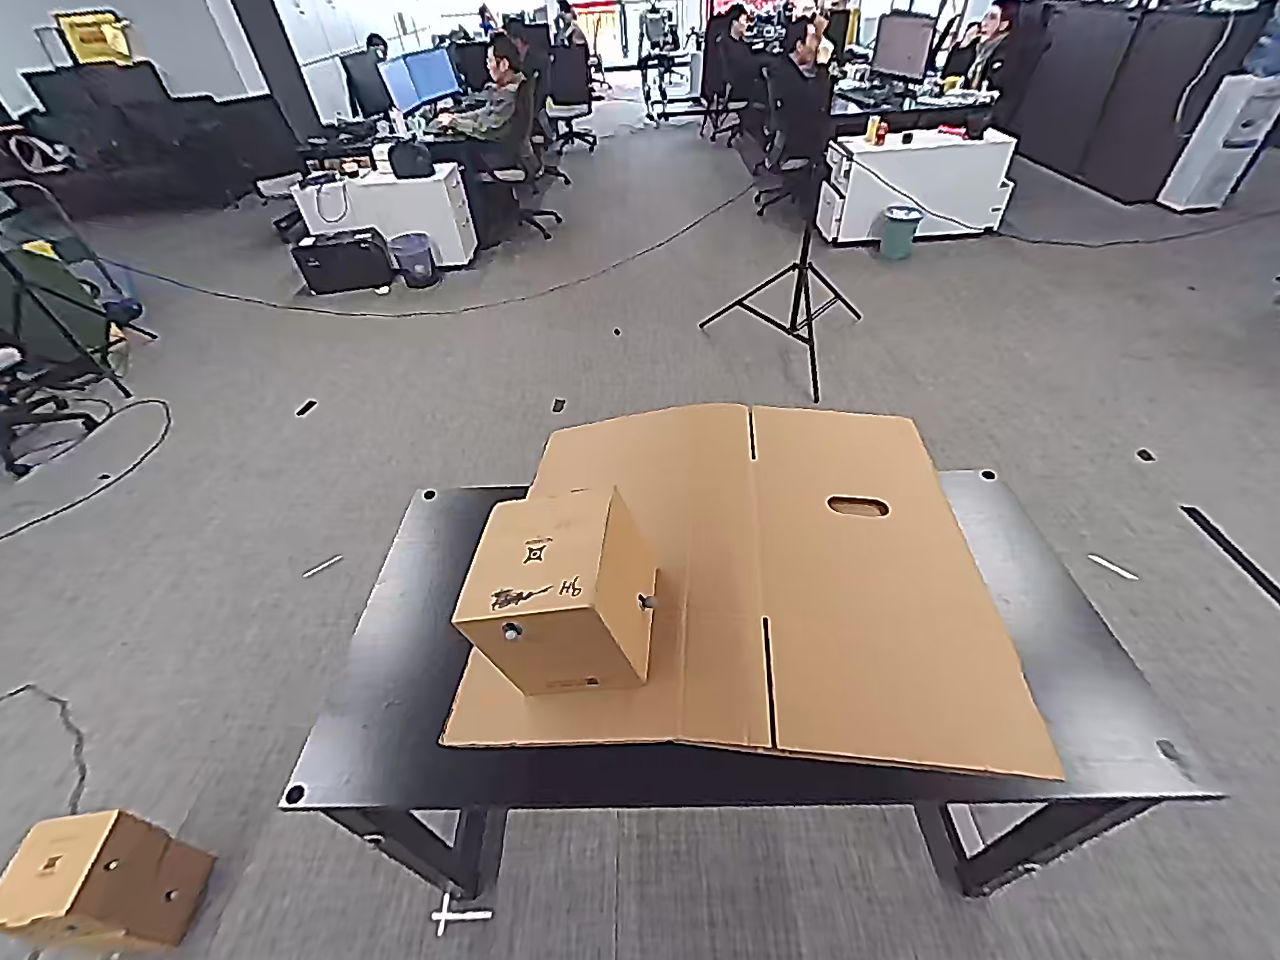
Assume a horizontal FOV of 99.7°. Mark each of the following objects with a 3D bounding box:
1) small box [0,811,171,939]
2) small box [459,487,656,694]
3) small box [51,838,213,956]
[{"bbox_3d":[-1.116,0.803,1.095,0.168,0.176,0.179,-6,42,-3],"label":"small box"},{"bbox_3d":[-0.084,0.137,0.662,0.168,0.176,0.179,-11,40,17],"label":"small box"},{"bbox_3d":[-1.105,0.926,1.201,0.168,0.176,0.179,-5,43,0],"label":"small box"}]
